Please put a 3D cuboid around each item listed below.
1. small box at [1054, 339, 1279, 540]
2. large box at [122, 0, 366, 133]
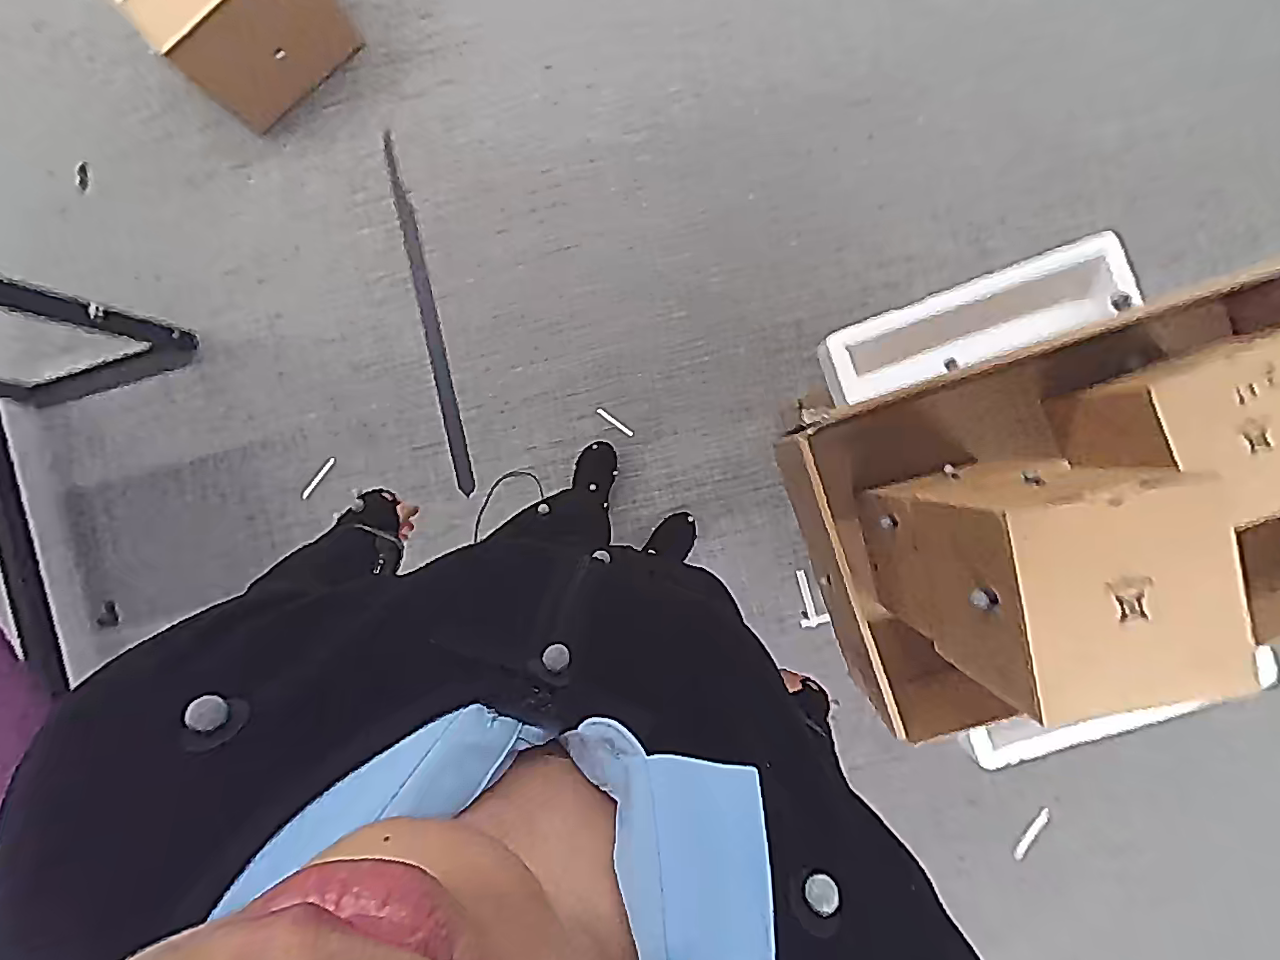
[{"bbox_3d":[0.642,-0.050,0.631,0.168,0.176,0.179,-21,92,5],"label":"small box"},{"bbox_3d":[-1.005,-1.206,1.363,0.408,0.320,0.320,-40,88,4],"label":"large box"}]
